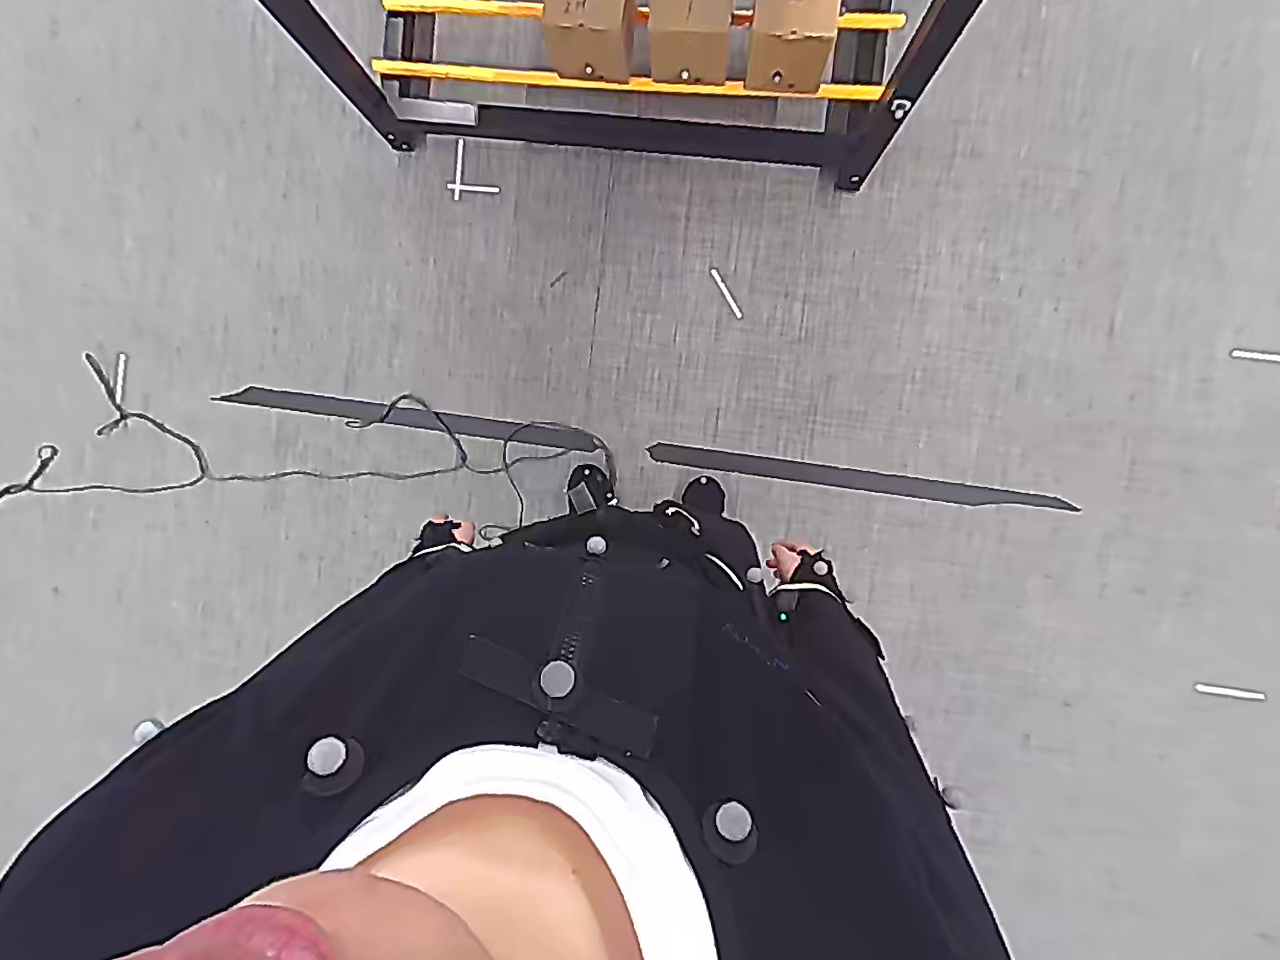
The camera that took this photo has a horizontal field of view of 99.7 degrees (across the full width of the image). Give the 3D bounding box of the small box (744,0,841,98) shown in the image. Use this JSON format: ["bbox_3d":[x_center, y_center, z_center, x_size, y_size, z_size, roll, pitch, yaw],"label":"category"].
[{"bbox_3d":[0.314,-0.946,1.127,0.168,0.176,0.179,6,94,4],"label":"small box"}]

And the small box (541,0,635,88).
[{"bbox_3d":[-0.103,-0.991,1.157,0.168,0.176,0.179,8,94,3],"label":"small box"}]
